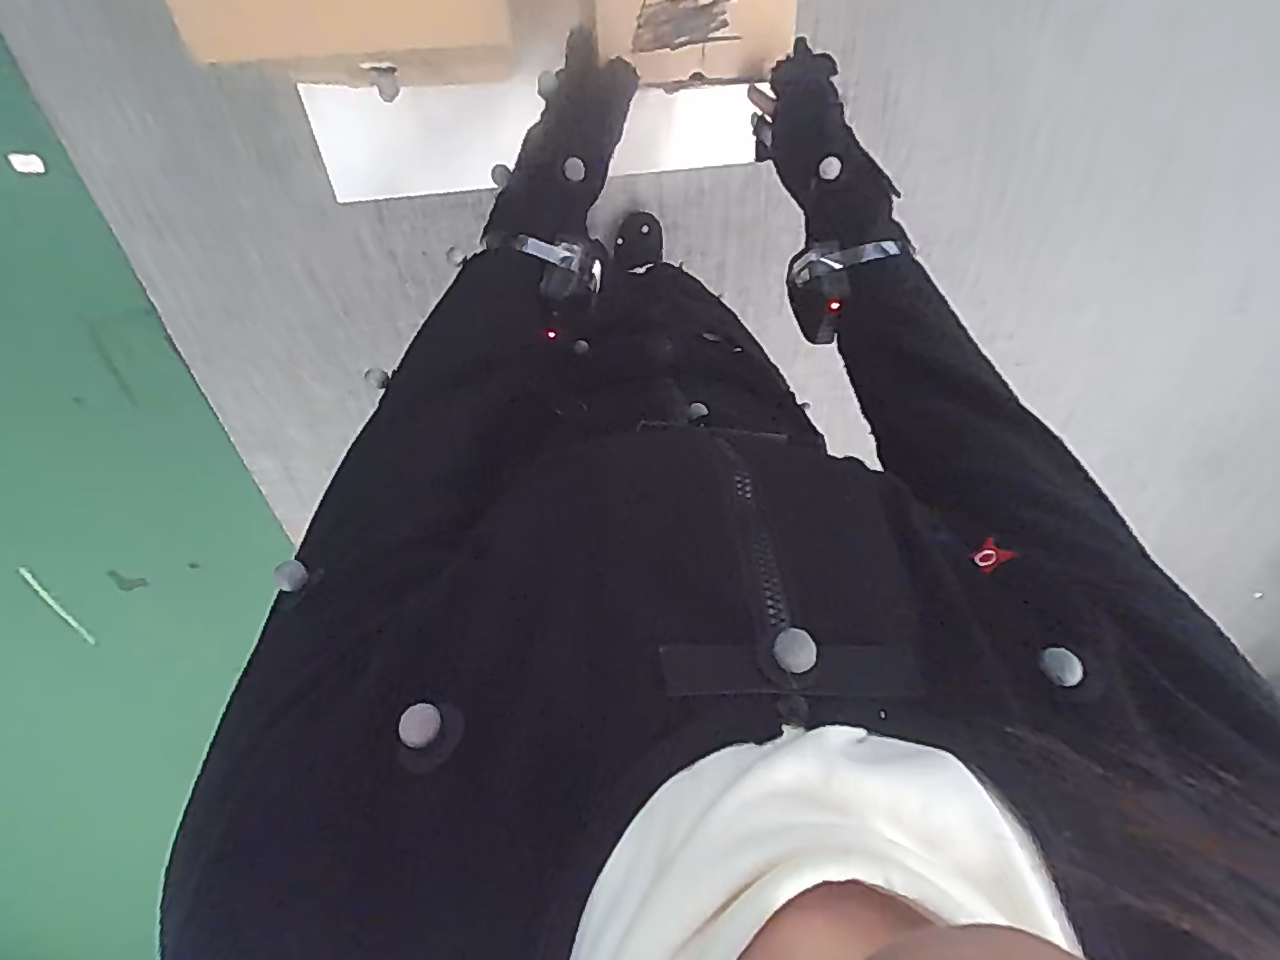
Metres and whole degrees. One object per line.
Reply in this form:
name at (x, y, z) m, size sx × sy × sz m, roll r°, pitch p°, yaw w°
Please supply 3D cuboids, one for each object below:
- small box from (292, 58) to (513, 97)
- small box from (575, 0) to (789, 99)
small box at (-0.201, -0.431, 0.447) m, size 0.168 × 0.176 × 0.179 m, roll -6°, pitch 123°, yaw -7°
small box at (0.028, -0.449, 0.482) m, size 0.168 × 0.176 × 0.179 m, roll -7°, pitch 123°, yaw -6°
